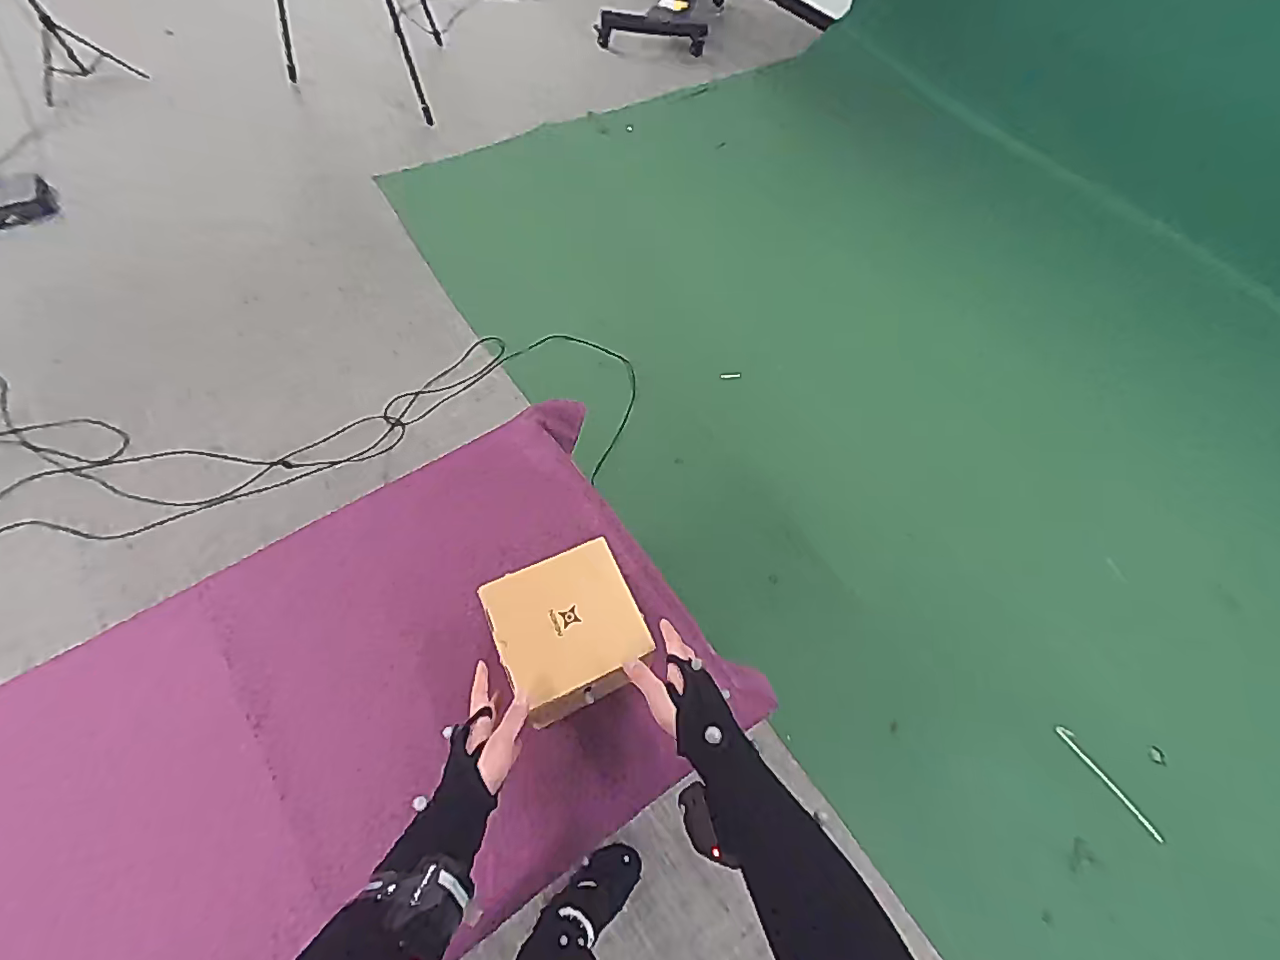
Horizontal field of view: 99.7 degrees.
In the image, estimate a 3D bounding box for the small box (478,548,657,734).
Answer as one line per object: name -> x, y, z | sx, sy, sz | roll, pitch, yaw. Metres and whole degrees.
small box -> -0.095, 0.220, 0.728 | 0.179, 0.176, 0.168 | -22, 64, -14
